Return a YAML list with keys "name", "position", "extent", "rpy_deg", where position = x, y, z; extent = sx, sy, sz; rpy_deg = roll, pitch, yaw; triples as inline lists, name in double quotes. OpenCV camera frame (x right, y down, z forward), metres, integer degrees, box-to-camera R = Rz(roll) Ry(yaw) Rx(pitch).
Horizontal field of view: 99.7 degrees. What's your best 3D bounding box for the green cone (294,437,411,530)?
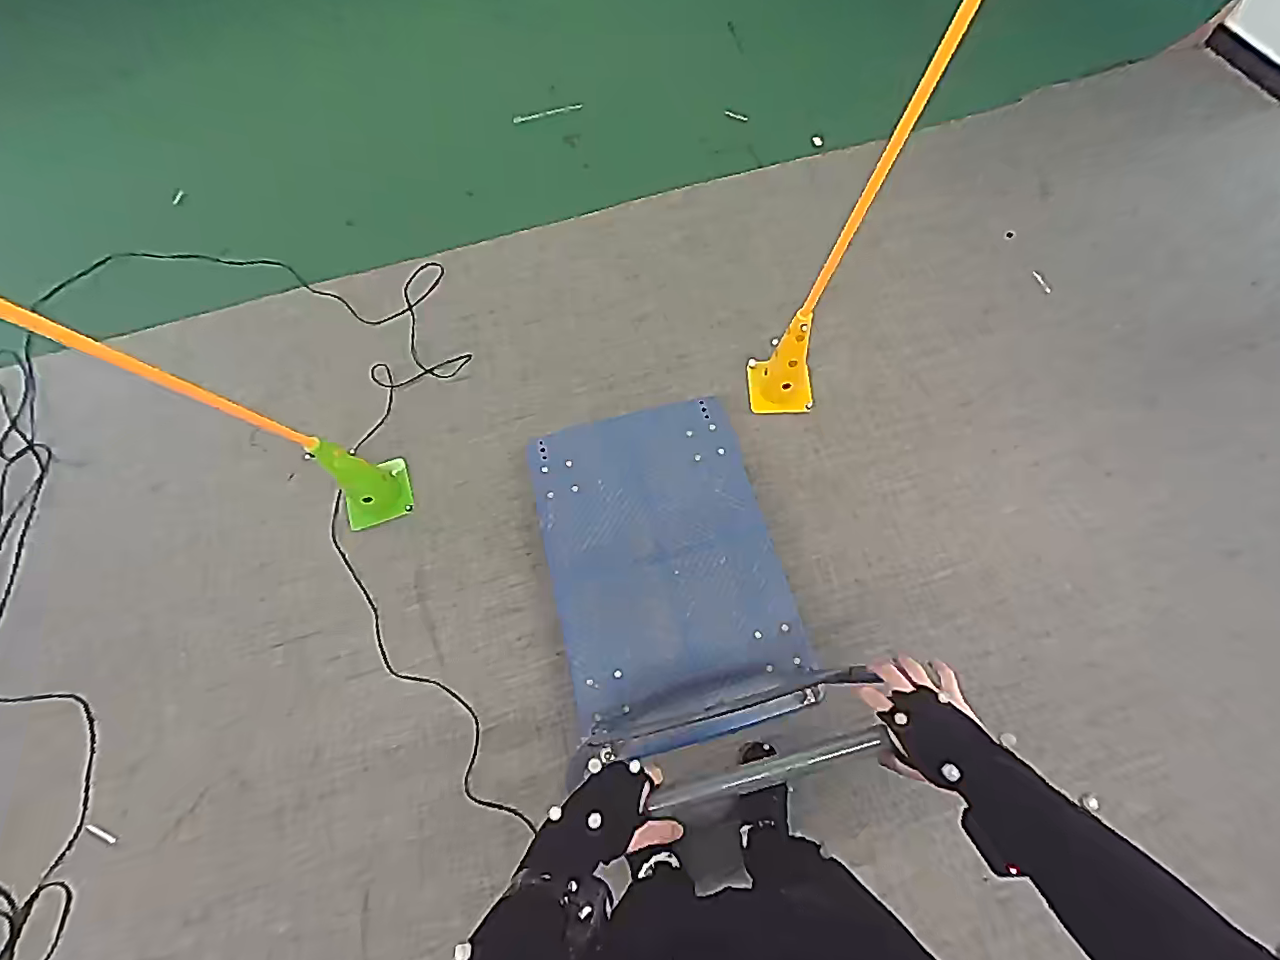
- name: "green cone"
  position: [-0.835, -0.028, 1.524]
  extent: [0.202, 0.368, 0.200]
  rpy_deg: [-21, 67, -4]
